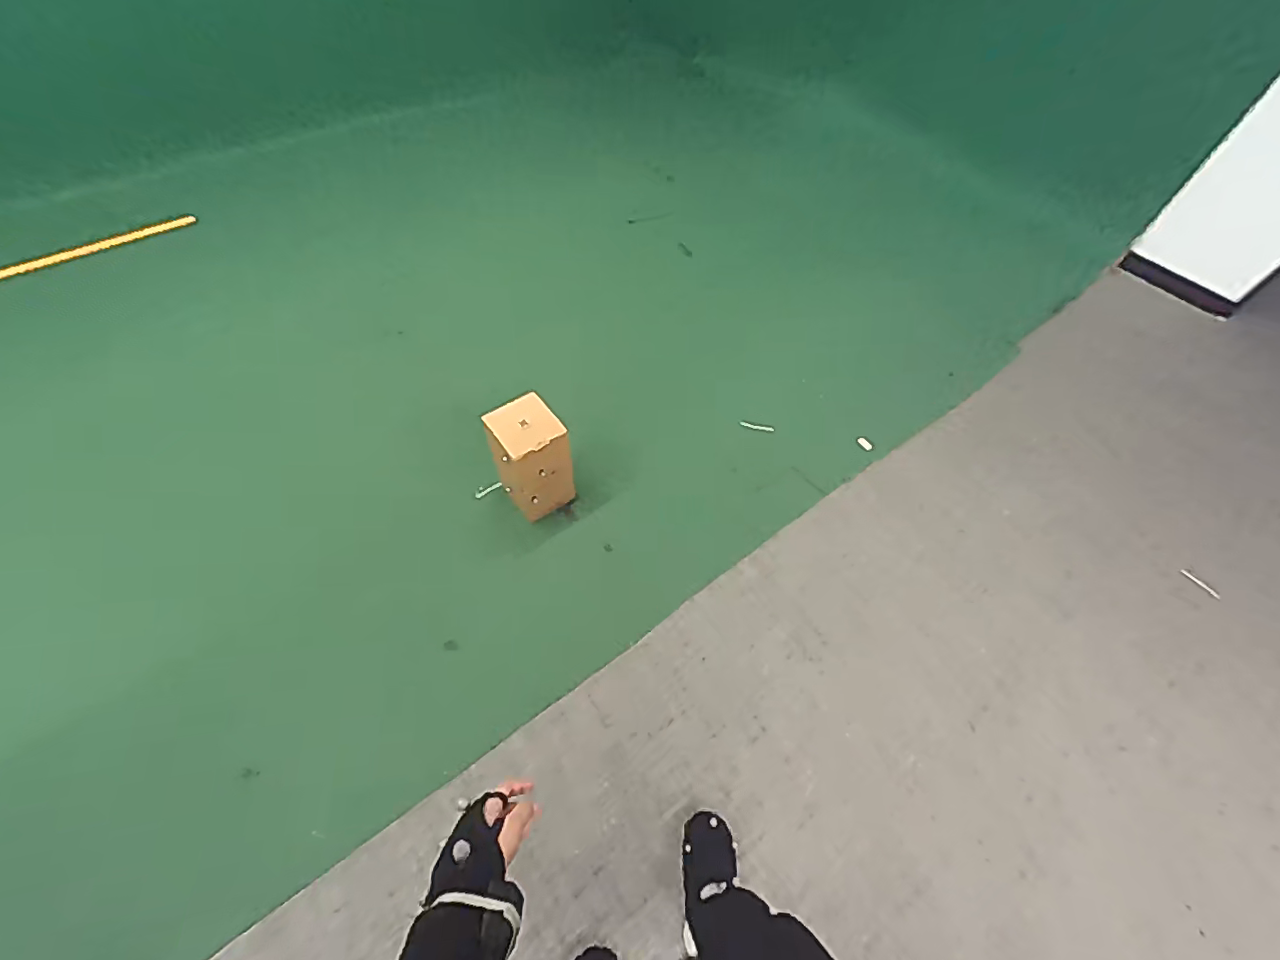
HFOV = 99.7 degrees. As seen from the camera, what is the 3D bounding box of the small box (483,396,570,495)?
[{"bbox_3d":[-0.308,-0.092,1.488,0.168,0.176,0.179,-30,63,-23],"label":"small box"}]
